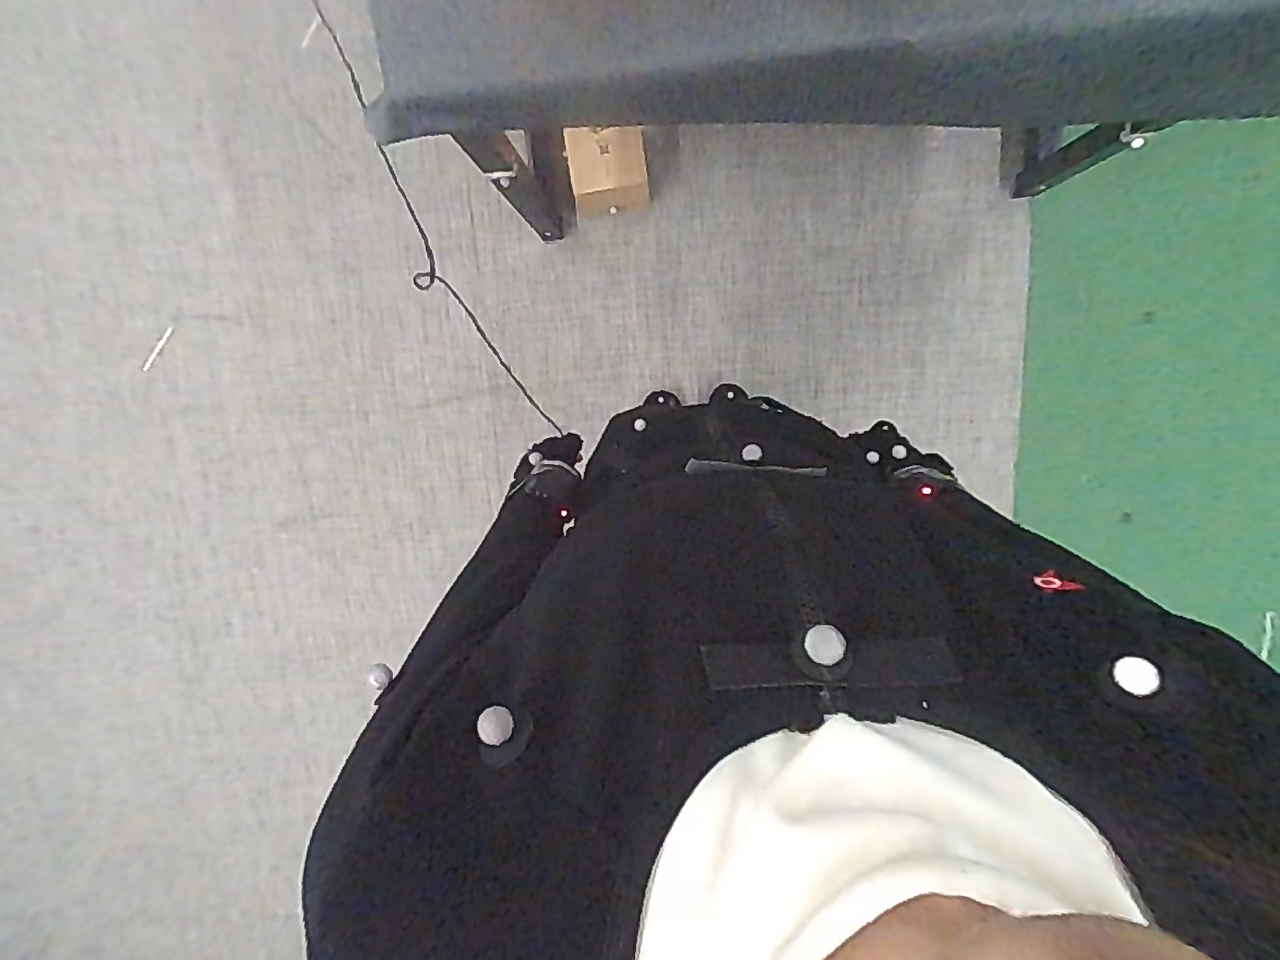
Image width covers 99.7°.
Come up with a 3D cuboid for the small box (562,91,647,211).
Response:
[{"bbox_3d":[-0.074,-0.739,1.231,0.168,0.176,0.179,-7,101,4],"label":"small box"}]
